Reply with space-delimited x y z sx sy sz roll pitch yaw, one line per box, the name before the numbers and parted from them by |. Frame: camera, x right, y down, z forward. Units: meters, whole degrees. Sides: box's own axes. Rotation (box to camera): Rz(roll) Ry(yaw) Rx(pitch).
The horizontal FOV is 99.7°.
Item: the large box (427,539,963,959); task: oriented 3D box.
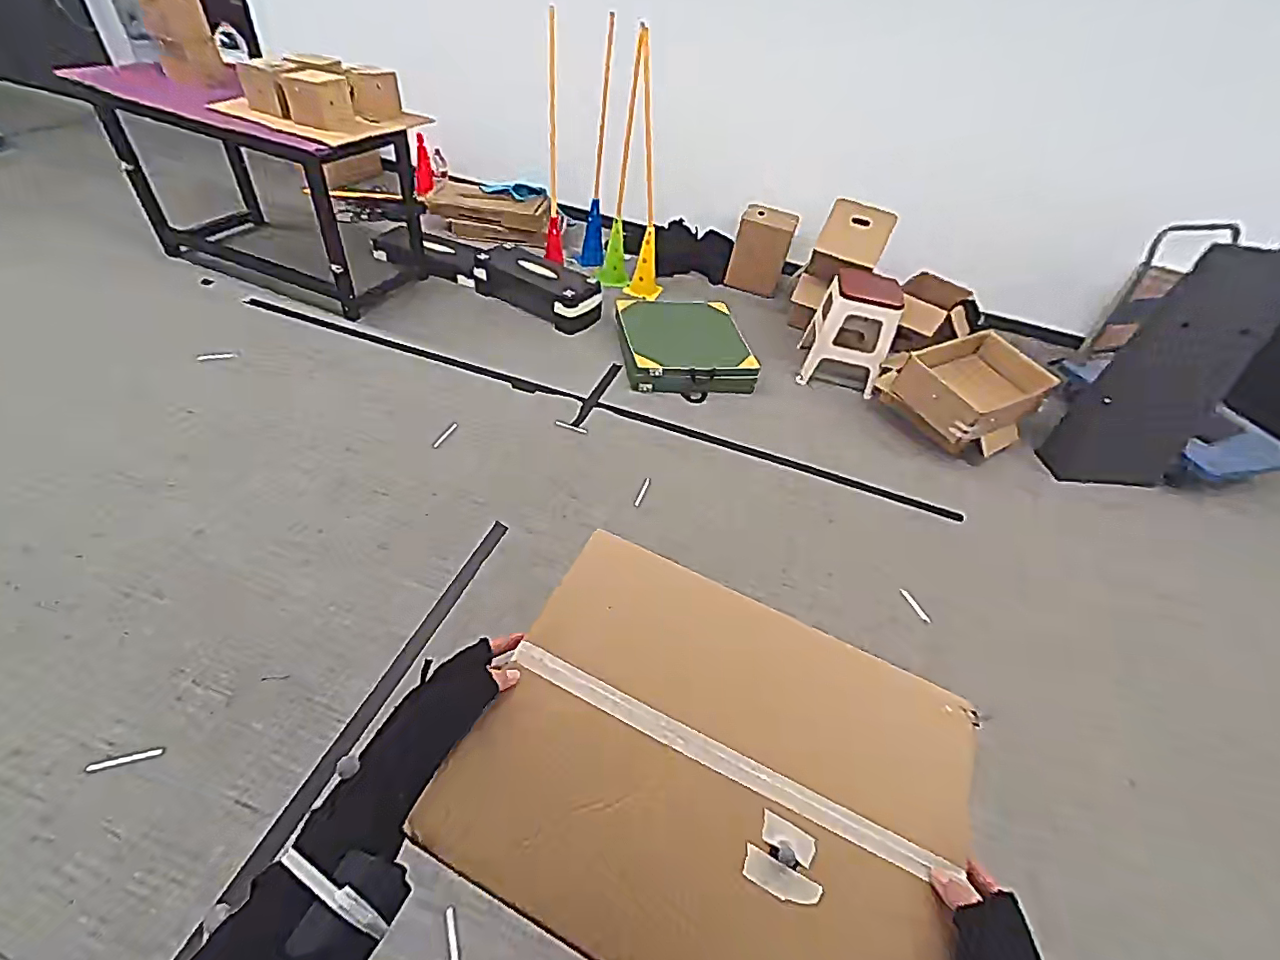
large box | 0.055 0.334 0.584 0.408 0.320 0.320 24 52 11
